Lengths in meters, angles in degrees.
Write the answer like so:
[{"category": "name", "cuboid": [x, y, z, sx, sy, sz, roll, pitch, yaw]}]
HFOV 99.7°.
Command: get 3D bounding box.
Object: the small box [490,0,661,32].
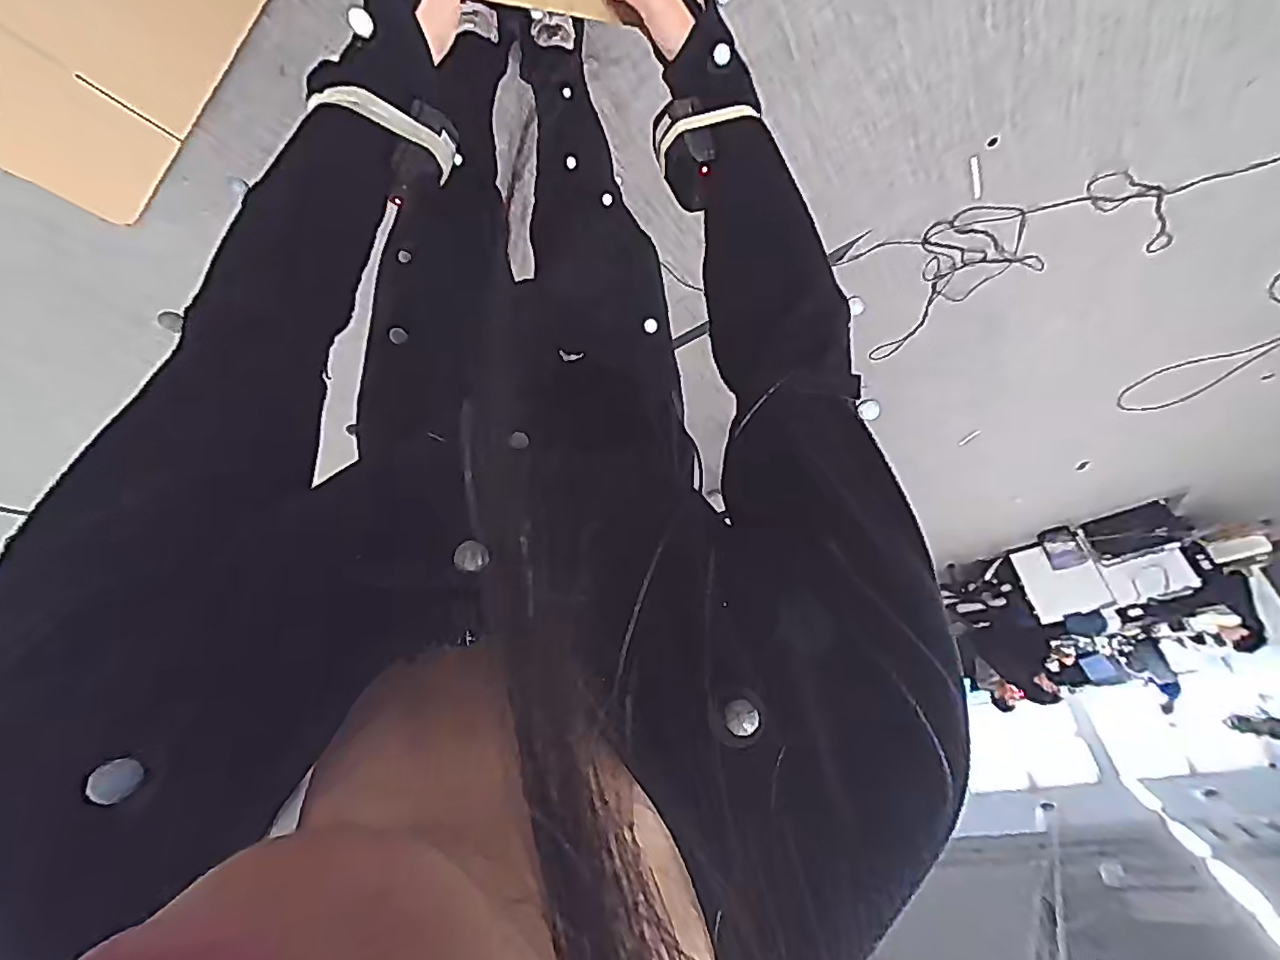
[{"category": "small box", "cuboid": [-0.060, -0.500, 0.416, 0.168, 0.176, 0.179, -2, 150, -15]}]
